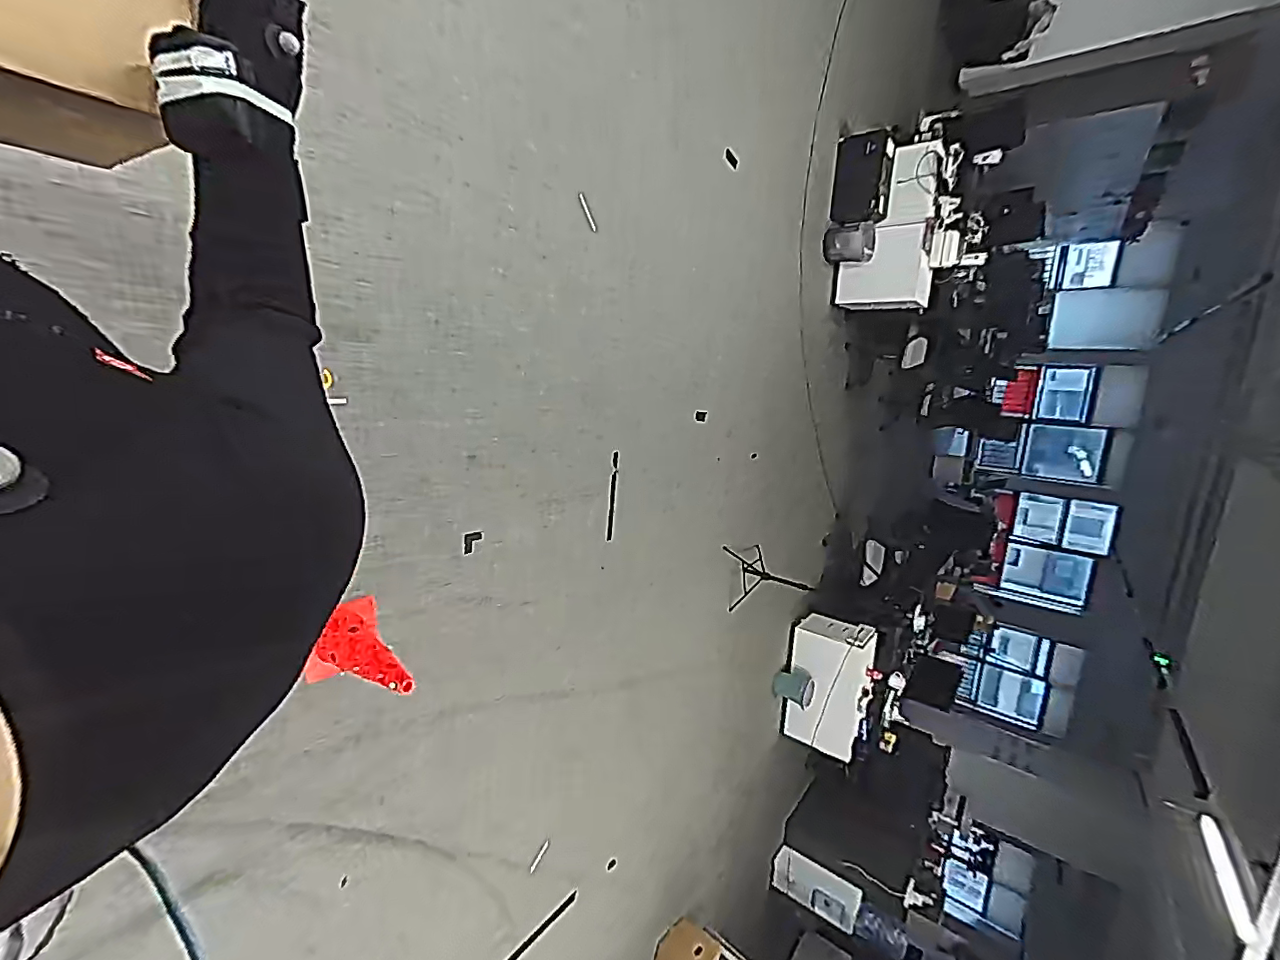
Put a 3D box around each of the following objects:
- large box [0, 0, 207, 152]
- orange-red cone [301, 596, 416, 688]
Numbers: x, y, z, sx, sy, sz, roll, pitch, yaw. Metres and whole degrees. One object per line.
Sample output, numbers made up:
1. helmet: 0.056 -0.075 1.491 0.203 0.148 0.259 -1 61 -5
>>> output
1. large box: -0.543 -0.426 0.292 0.408 0.320 0.320 -12 114 -53
2. orange-red cone: -0.706 0.466 1.420 0.198 0.360 0.199 -14 109 -52
